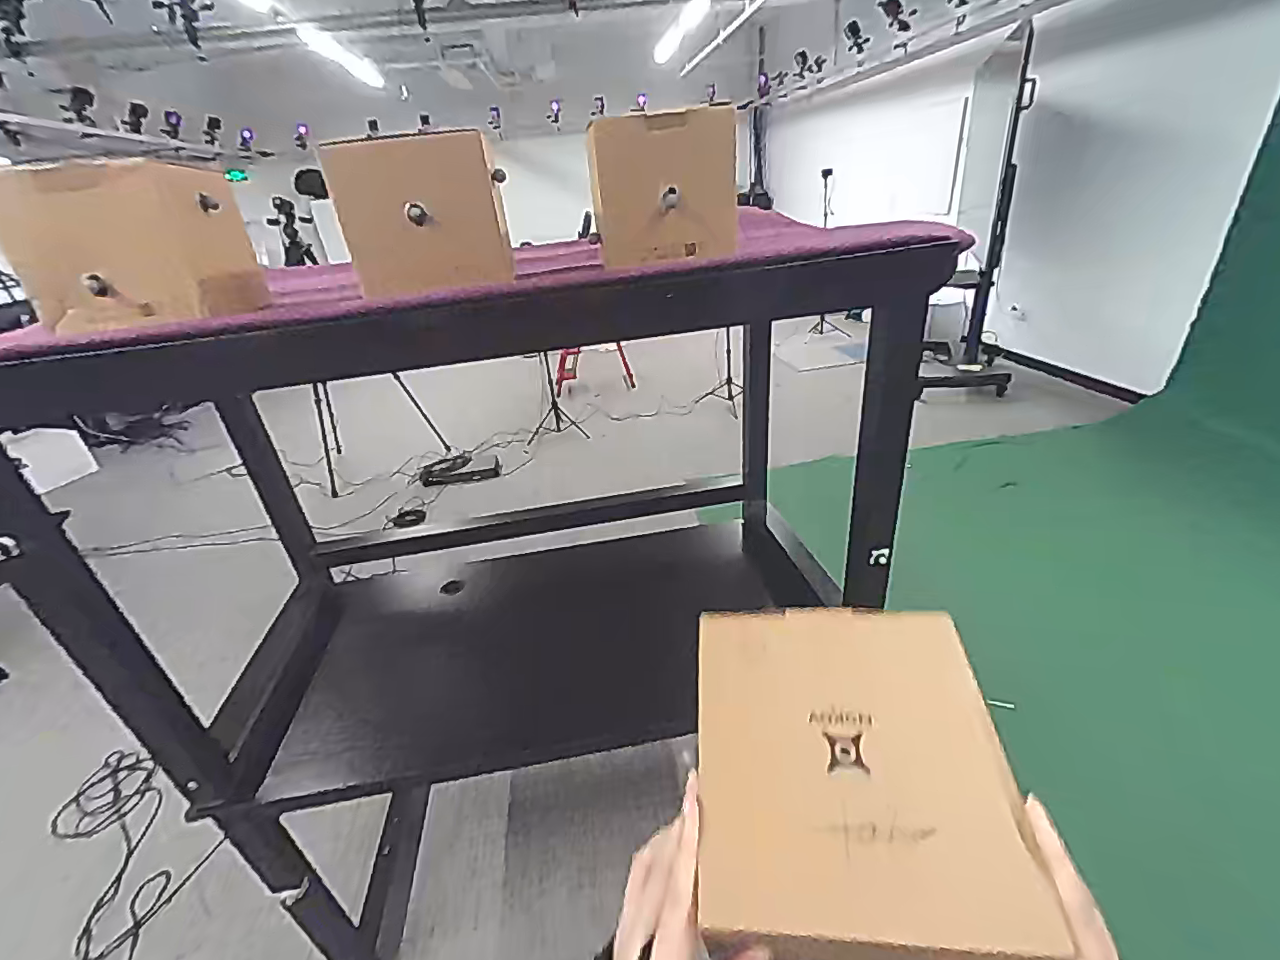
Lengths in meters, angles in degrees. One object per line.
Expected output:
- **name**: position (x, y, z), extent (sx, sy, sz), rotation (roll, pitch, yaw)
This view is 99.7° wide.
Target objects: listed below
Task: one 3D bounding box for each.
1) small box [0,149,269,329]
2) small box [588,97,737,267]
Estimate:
- **small box**: position (-0.578, -0.281, 0.639), extent (0.168, 0.176, 0.179), rotation (-10, 27, -9)
- **small box**: position (0.027, -0.381, 0.707), extent (0.168, 0.176, 0.179), rotation (-8, 29, -4)
